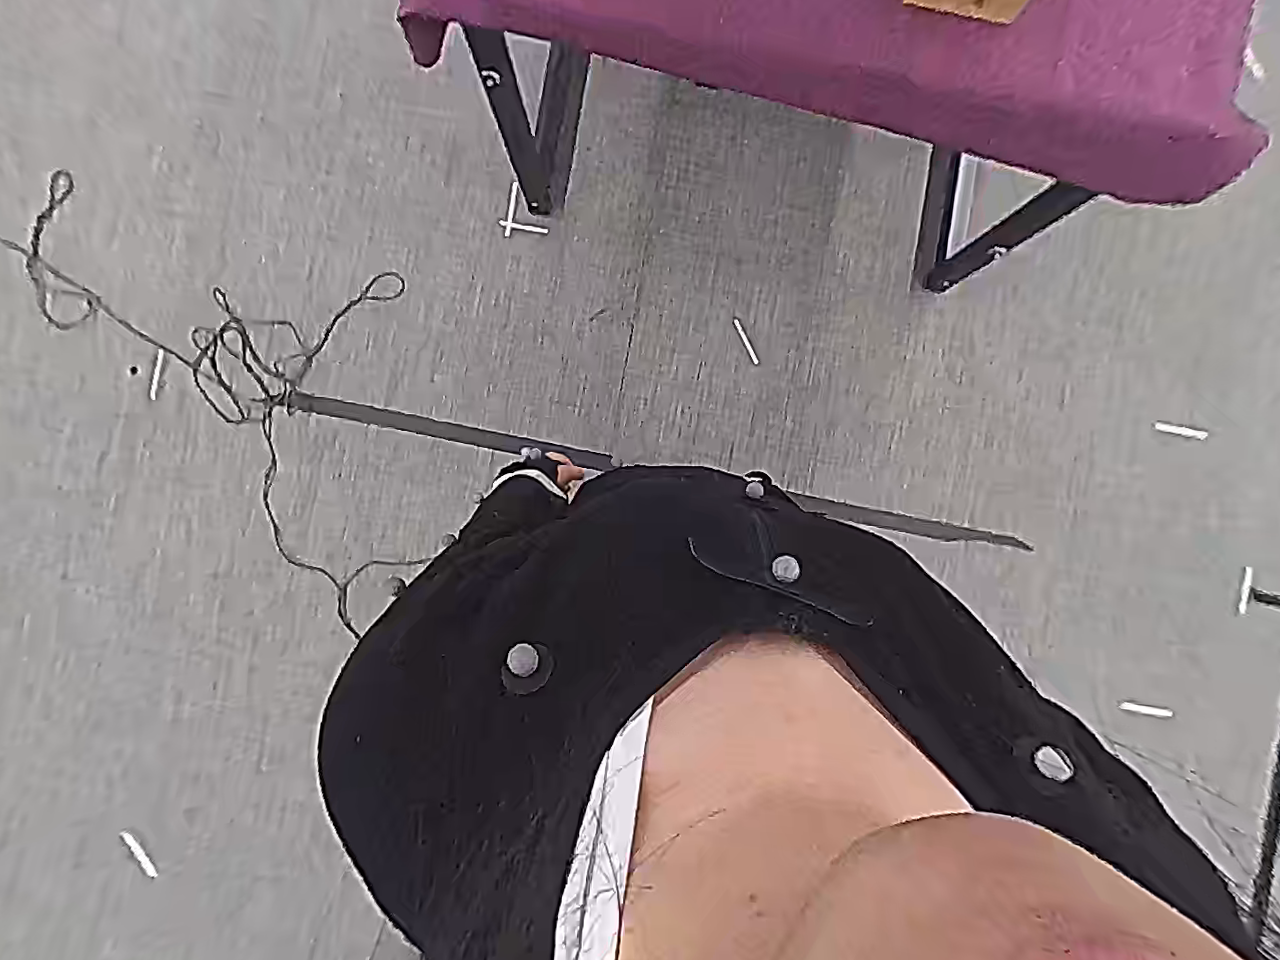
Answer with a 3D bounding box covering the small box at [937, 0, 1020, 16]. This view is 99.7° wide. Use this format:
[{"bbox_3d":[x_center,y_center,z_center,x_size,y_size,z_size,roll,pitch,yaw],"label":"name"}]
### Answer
[{"bbox_3d":[0.479,-0.774,0.714,0.168,0.176,0.179,10,89,-1],"label":"small box"}]
